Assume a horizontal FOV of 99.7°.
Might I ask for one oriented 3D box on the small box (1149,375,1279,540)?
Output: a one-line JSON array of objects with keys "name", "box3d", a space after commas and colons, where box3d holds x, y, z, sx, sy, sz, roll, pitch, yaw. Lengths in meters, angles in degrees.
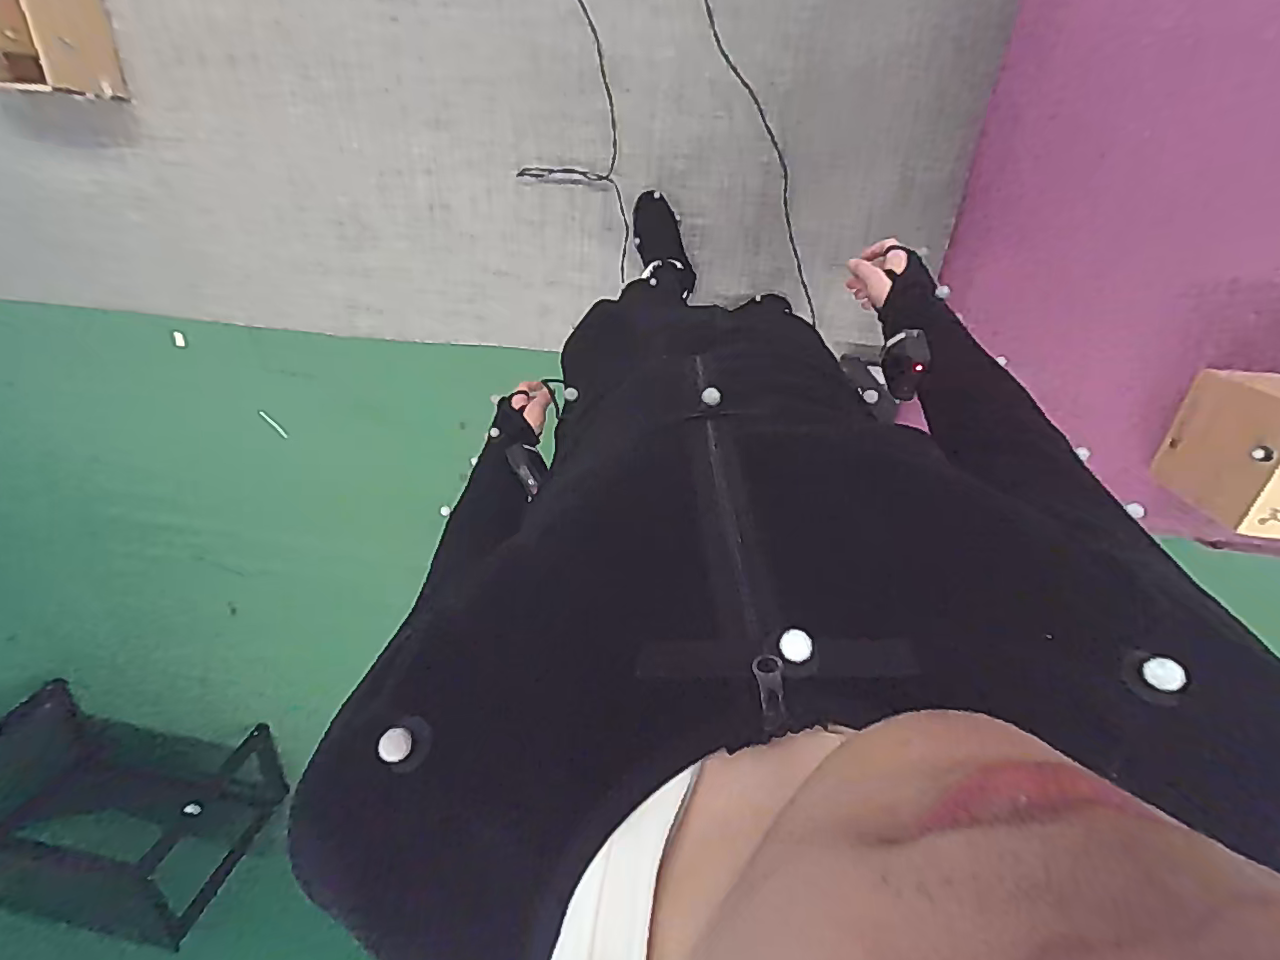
[{"name": "small box", "box3d": [0.836, -0.031, 0.695, 0.179, 0.176, 0.168, 5, 117, 6]}]
